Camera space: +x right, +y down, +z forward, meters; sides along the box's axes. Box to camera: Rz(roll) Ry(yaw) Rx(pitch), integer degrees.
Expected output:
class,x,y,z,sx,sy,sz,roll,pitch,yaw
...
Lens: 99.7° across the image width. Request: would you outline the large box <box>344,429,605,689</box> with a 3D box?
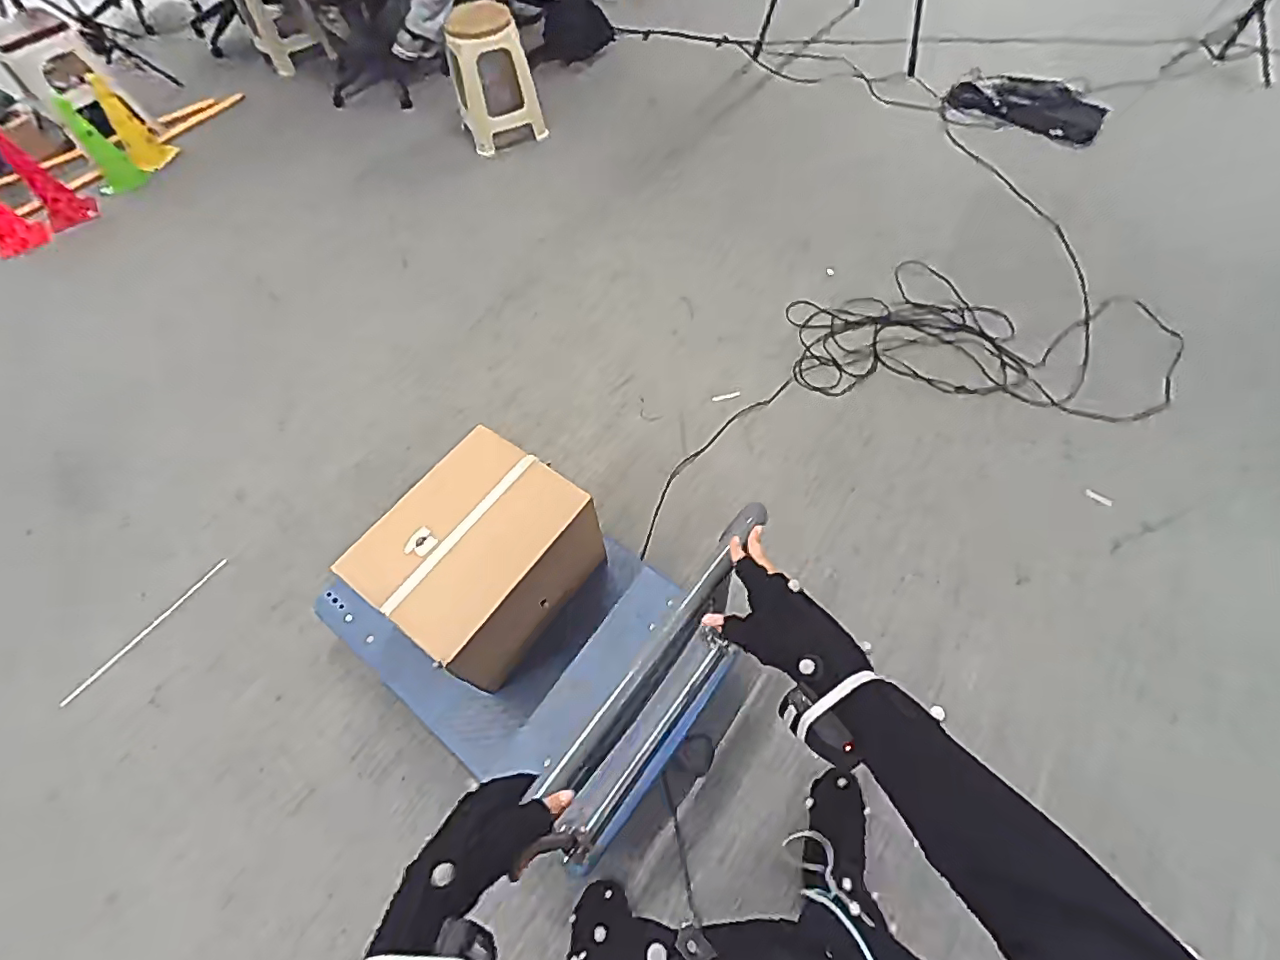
class,x,y,z,sx,sy,sz,roll,pitch,yaw
large box,-0.319,0.176,1.175,0.320,0.320,0.408,31,67,18
